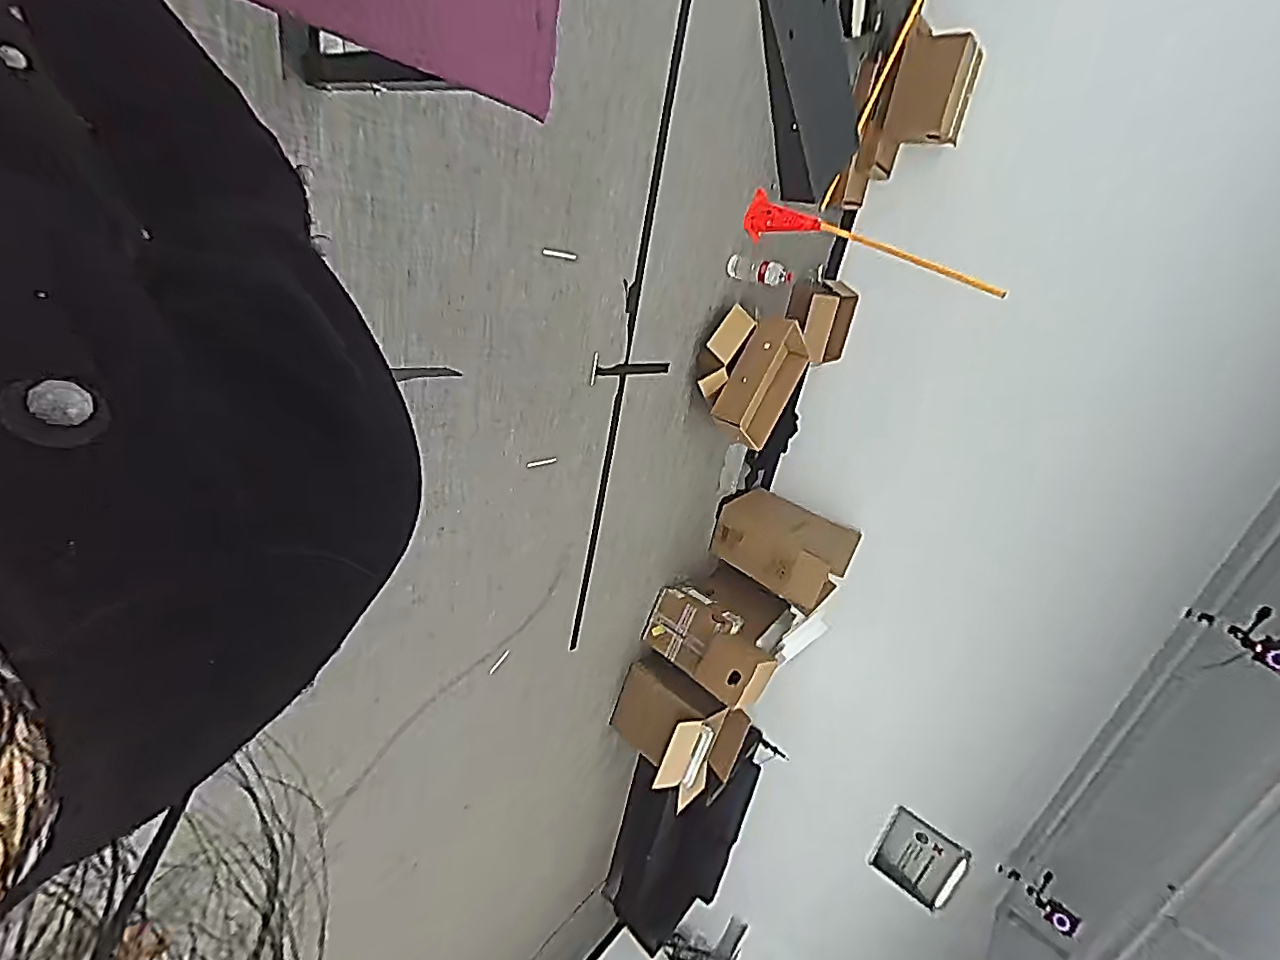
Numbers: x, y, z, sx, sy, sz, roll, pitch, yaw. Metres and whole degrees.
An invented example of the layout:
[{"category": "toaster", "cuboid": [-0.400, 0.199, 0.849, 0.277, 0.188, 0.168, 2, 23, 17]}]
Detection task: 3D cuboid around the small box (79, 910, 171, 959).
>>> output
[{"category": "small box", "cuboid": [-1.508, 1.427, 1.592, 0.168, 0.176, 0.179, -19, 128, -48]}]
